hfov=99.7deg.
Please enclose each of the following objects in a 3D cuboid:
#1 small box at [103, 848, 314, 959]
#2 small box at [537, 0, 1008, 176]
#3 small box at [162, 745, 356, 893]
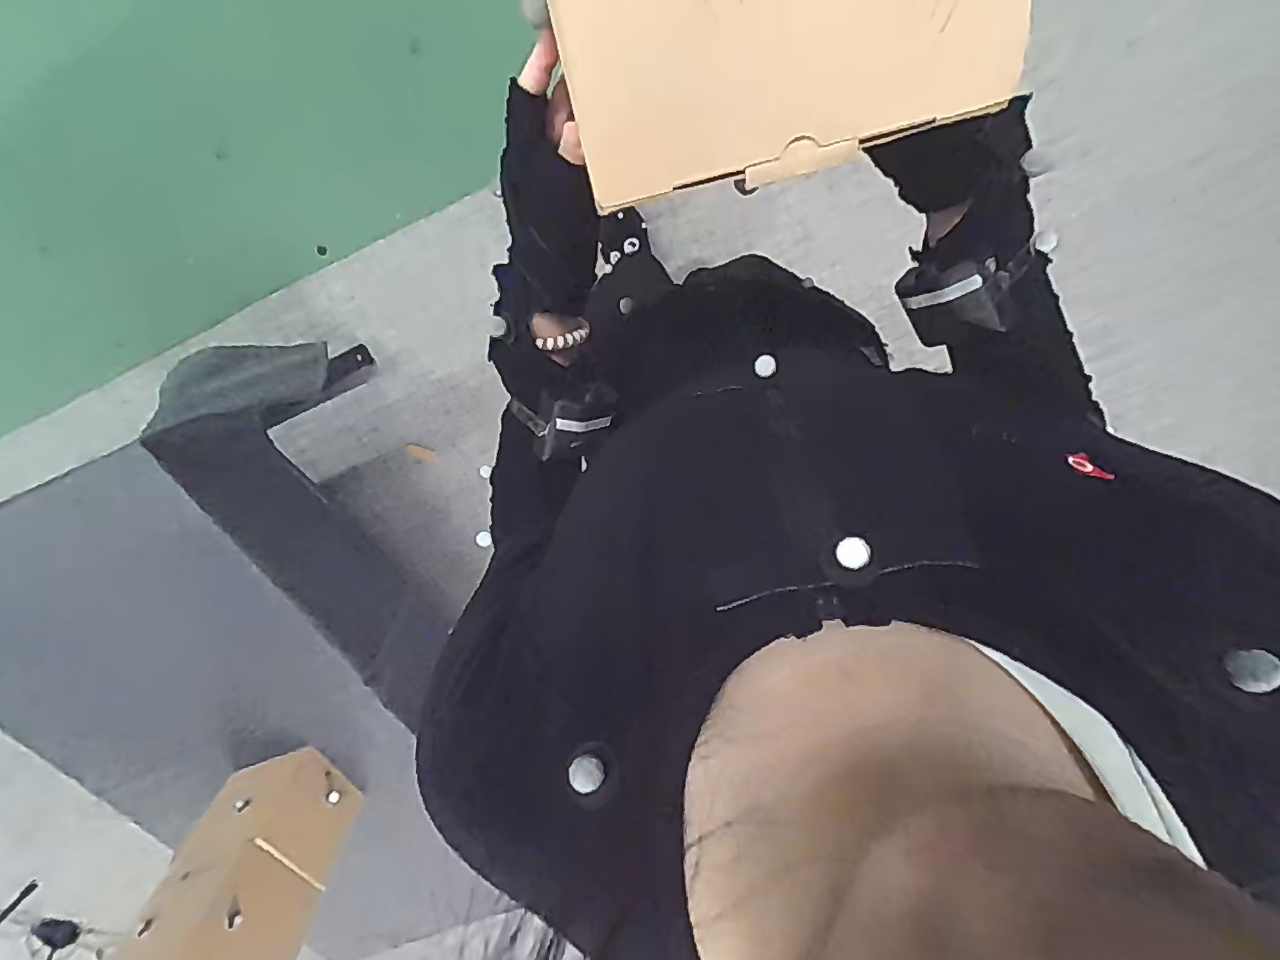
[{"bbox_3d":[-0.629,0.670,0.784,0.168,0.176,0.179,-23,115,9],"label":"small box"},{"bbox_3d":[0.034,-0.250,0.230,0.168,0.176,0.179,-12,122,3],"label":"small box"},{"bbox_3d":[-0.635,0.596,0.929,0.179,0.176,0.168,-22,115,7],"label":"small box"}]
